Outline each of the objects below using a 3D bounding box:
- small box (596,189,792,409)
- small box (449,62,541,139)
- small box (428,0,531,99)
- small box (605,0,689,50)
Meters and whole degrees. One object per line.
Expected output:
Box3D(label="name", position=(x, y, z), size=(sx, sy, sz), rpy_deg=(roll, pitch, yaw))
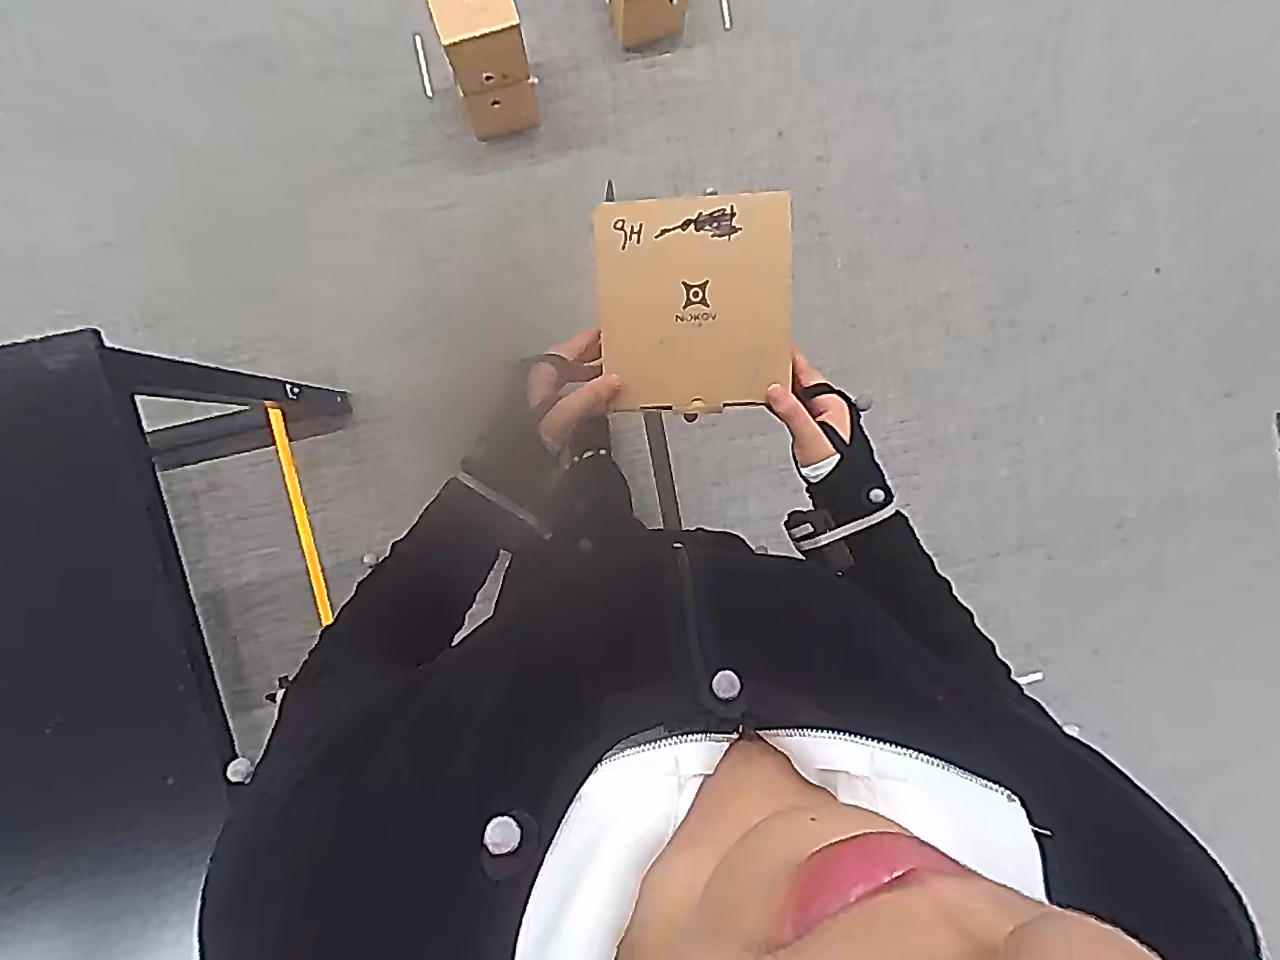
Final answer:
Box3D(label="small box", position=(0.051, -0.167, 0.542), size=(0.168, 0.176, 0.179), rpy_deg=(-2, 100, 2))
Box3D(label="small box", position=(-0.354, -0.971, 1.319), size=(0.179, 0.176, 0.168), rpy_deg=(-15, 95, -3))
Box3D(label="small box", position=(-0.346, -0.972, 1.156), size=(0.168, 0.176, 0.179), rpy_deg=(-18, 96, -1))
Box3D(label="small box", position=(0.013, -1.216, 1.331), size=(0.179, 0.176, 0.168), rpy_deg=(-18, 94, -3))
